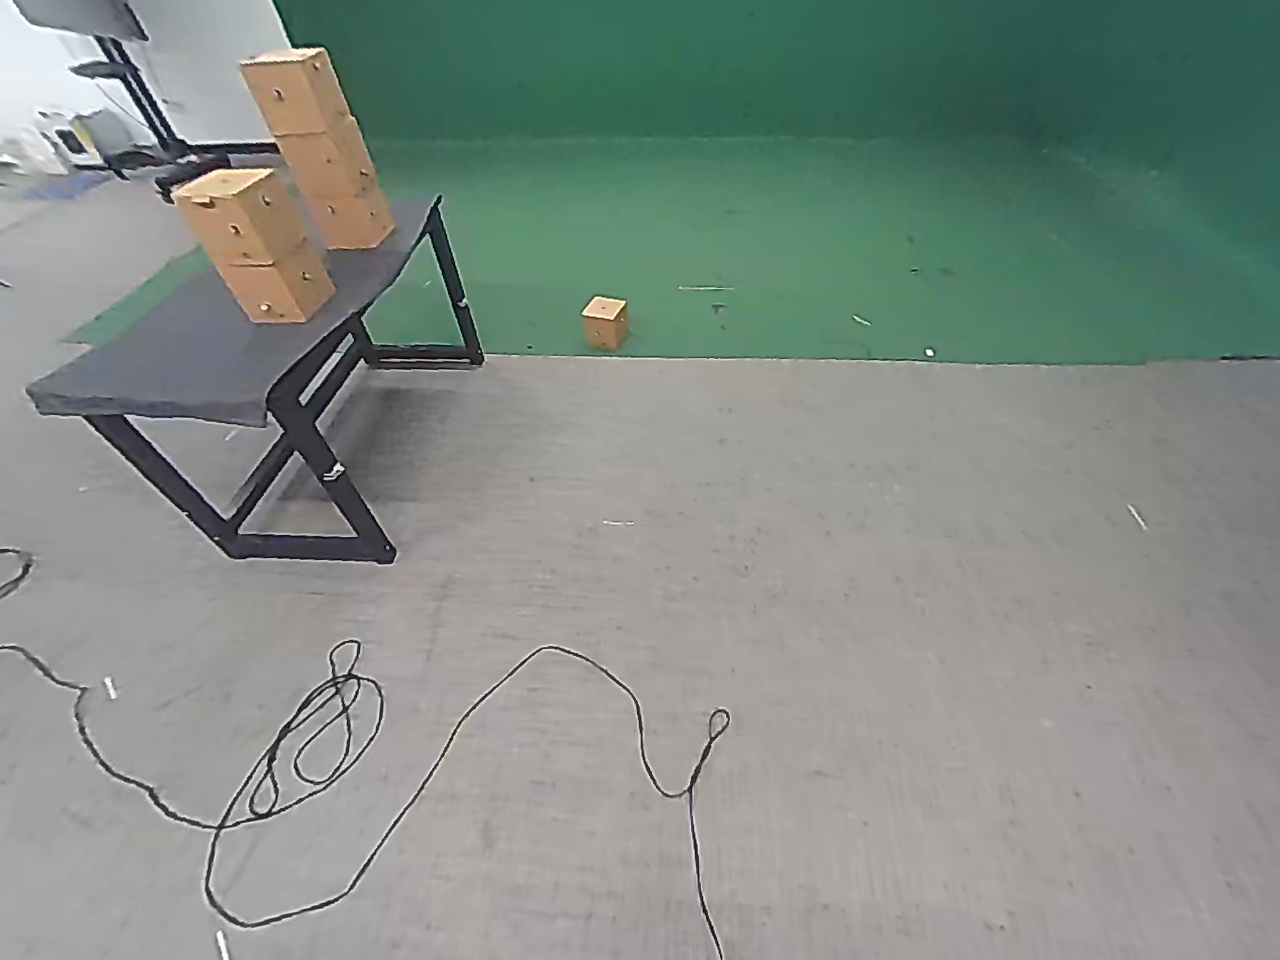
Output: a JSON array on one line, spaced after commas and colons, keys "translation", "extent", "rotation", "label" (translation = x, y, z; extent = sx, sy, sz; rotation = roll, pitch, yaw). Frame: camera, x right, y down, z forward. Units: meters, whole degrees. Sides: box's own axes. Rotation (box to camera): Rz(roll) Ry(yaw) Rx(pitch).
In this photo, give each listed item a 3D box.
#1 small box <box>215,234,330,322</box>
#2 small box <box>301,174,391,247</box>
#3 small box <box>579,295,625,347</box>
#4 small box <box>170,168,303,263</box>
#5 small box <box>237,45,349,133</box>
[{"translation": [-0.980, -0.549, 1.465], "extent": [0.168, 0.176, 0.179], "rotation": [2, 48, 6], "label": "small box"}, {"translation": [-0.947, -0.878, 1.764], "extent": [0.179, 0.176, 0.168], "rotation": [1, 48, 5], "label": "small box"}, {"translation": [-0.175, -0.764, 2.610], "extent": [0.168, 0.176, 0.179], "rotation": [15, 50, 14], "label": "small box"}, {"translation": [-0.985, -0.655, 1.343], "extent": [0.168, 0.176, 0.179], "rotation": [3, 47, 5], "label": "small box"}, {"translation": [-0.963, -1.097, 1.520], "extent": [0.179, 0.176, 0.168], "rotation": [-2, 48, 3], "label": "small box"}]
